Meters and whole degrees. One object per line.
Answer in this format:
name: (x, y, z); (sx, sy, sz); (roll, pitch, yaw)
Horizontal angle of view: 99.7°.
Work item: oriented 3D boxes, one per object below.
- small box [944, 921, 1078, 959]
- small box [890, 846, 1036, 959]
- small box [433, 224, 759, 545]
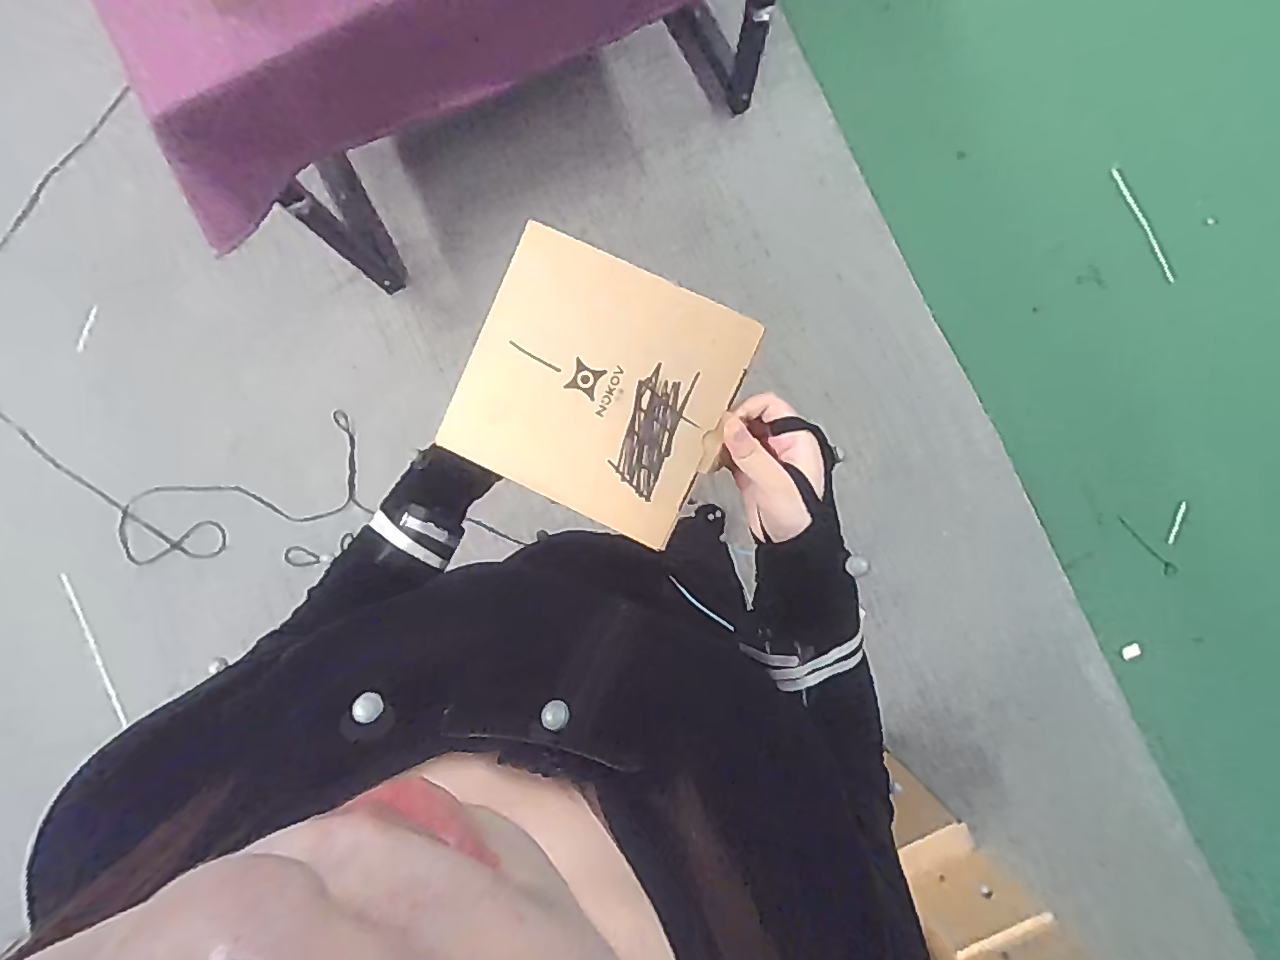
small box: (0.579, 0.789, 0.776); (0.168, 0.176, 0.179); (-21, 88, 0)
small box: (0.572, 0.783, 0.941); (0.168, 0.176, 0.179); (-23, 88, -1)
small box: (-0.027, -0.069, 0.444); (0.179, 0.176, 0.168); (26, 94, 3)
